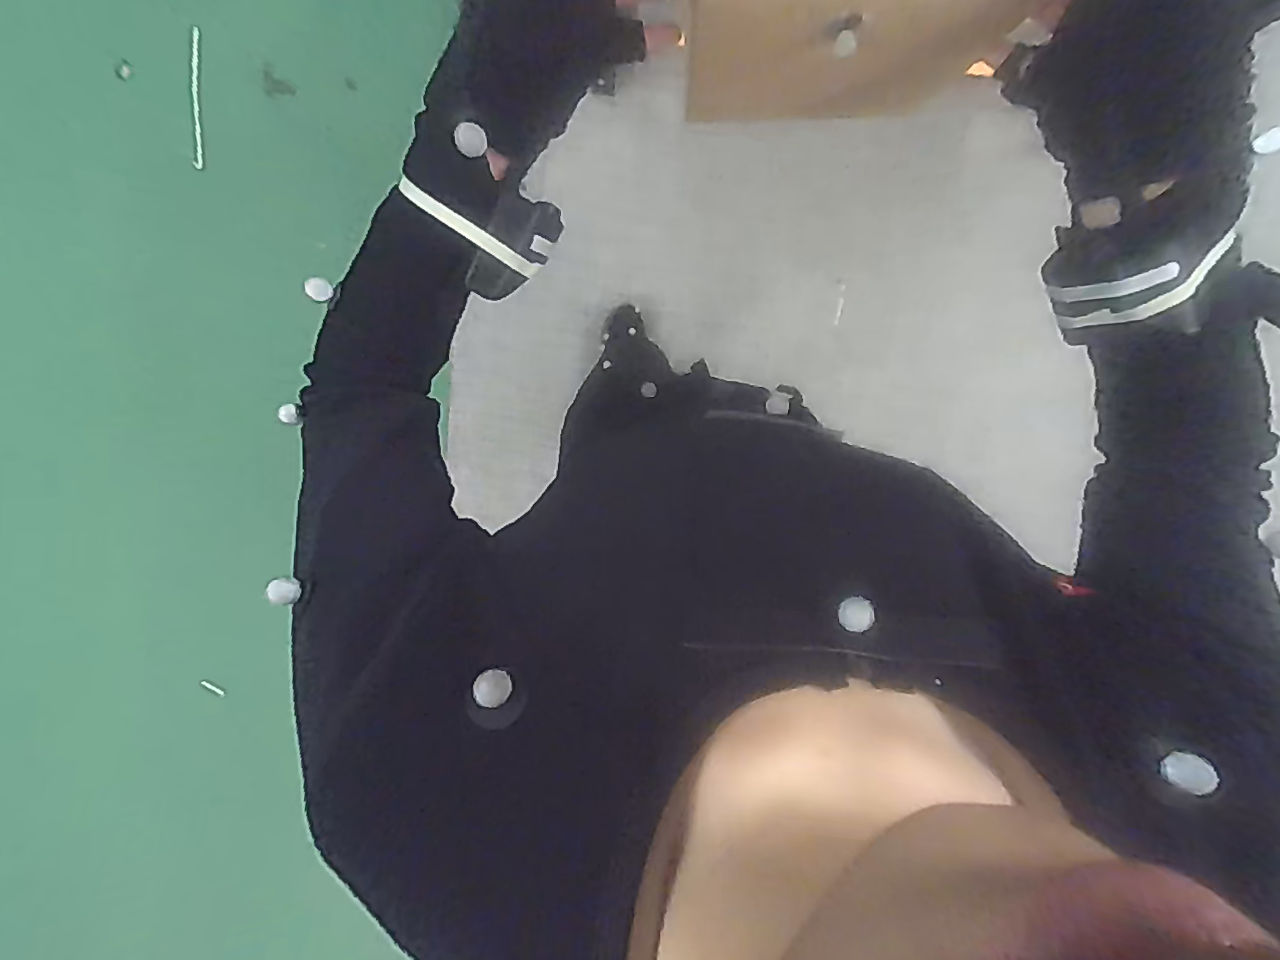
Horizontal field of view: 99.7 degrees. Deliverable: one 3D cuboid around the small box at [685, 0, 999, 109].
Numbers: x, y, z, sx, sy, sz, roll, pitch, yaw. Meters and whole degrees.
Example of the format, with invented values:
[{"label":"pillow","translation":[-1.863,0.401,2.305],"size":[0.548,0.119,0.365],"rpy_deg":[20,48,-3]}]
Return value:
[{"label":"small box","translation":[0.118,-0.343,0.316],"size":[0.179,0.176,0.168],"rpy_deg":[-2,104,0]}]
